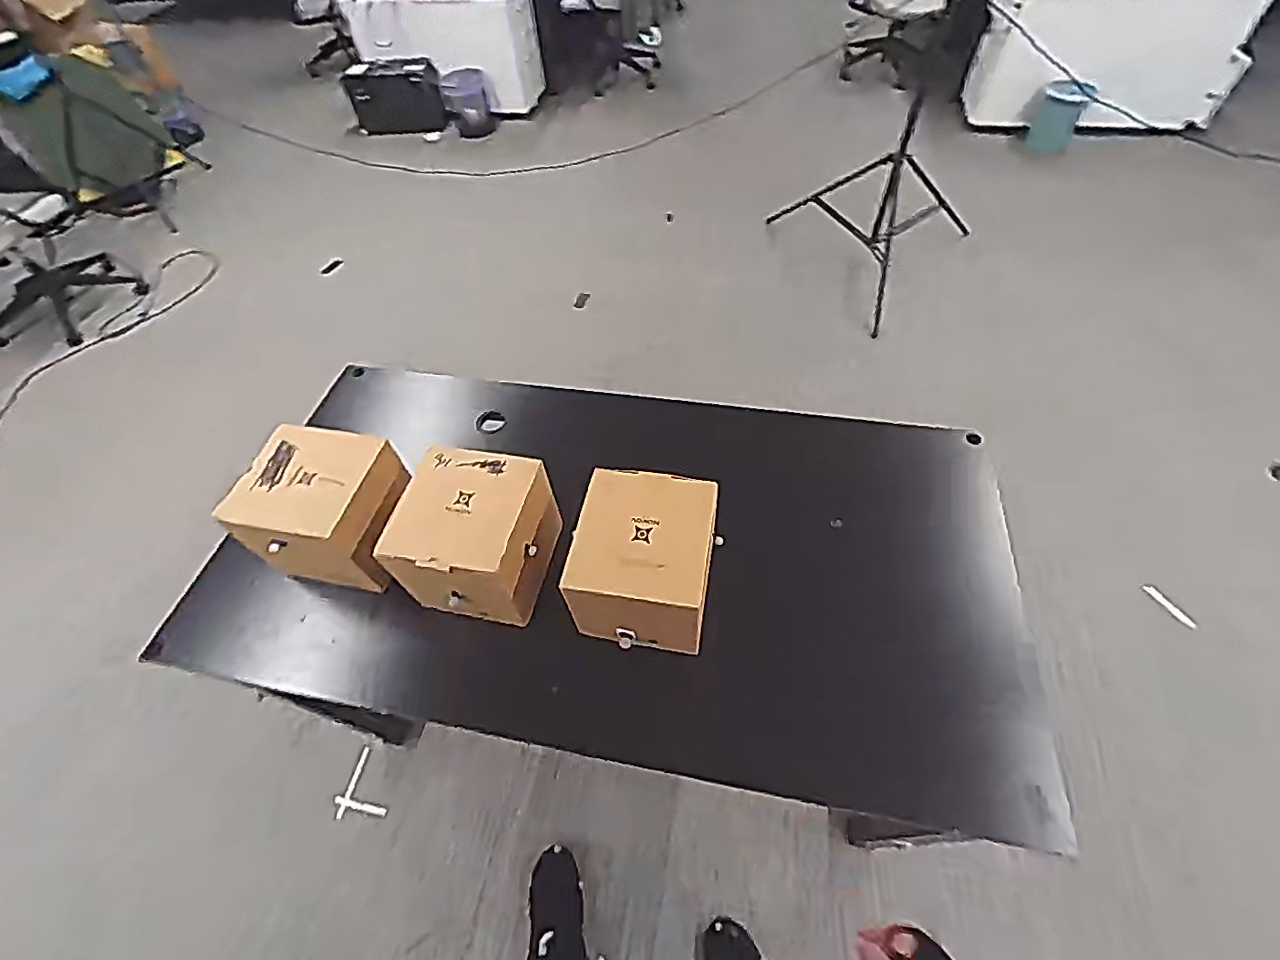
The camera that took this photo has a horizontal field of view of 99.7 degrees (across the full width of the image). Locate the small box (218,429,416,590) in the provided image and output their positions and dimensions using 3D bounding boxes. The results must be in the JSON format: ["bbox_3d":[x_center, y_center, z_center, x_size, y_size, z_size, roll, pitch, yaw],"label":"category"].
[{"bbox_3d":[-0.449,0.048,0.801,0.179,0.176,0.168,8,56,8],"label":"small box"}]

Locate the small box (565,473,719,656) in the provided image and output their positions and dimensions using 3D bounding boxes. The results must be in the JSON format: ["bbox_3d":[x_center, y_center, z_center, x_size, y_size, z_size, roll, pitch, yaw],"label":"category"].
[{"bbox_3d":[0.011,0.115,0.727,0.168,0.176,0.179,6,56,9],"label":"small box"}]

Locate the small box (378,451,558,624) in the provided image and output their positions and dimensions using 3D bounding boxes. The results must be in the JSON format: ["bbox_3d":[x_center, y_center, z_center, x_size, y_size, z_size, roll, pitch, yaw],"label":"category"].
[{"bbox_3d":[-0.223,0.086,0.761,0.168,0.176,0.179,8,56,8],"label":"small box"}]
